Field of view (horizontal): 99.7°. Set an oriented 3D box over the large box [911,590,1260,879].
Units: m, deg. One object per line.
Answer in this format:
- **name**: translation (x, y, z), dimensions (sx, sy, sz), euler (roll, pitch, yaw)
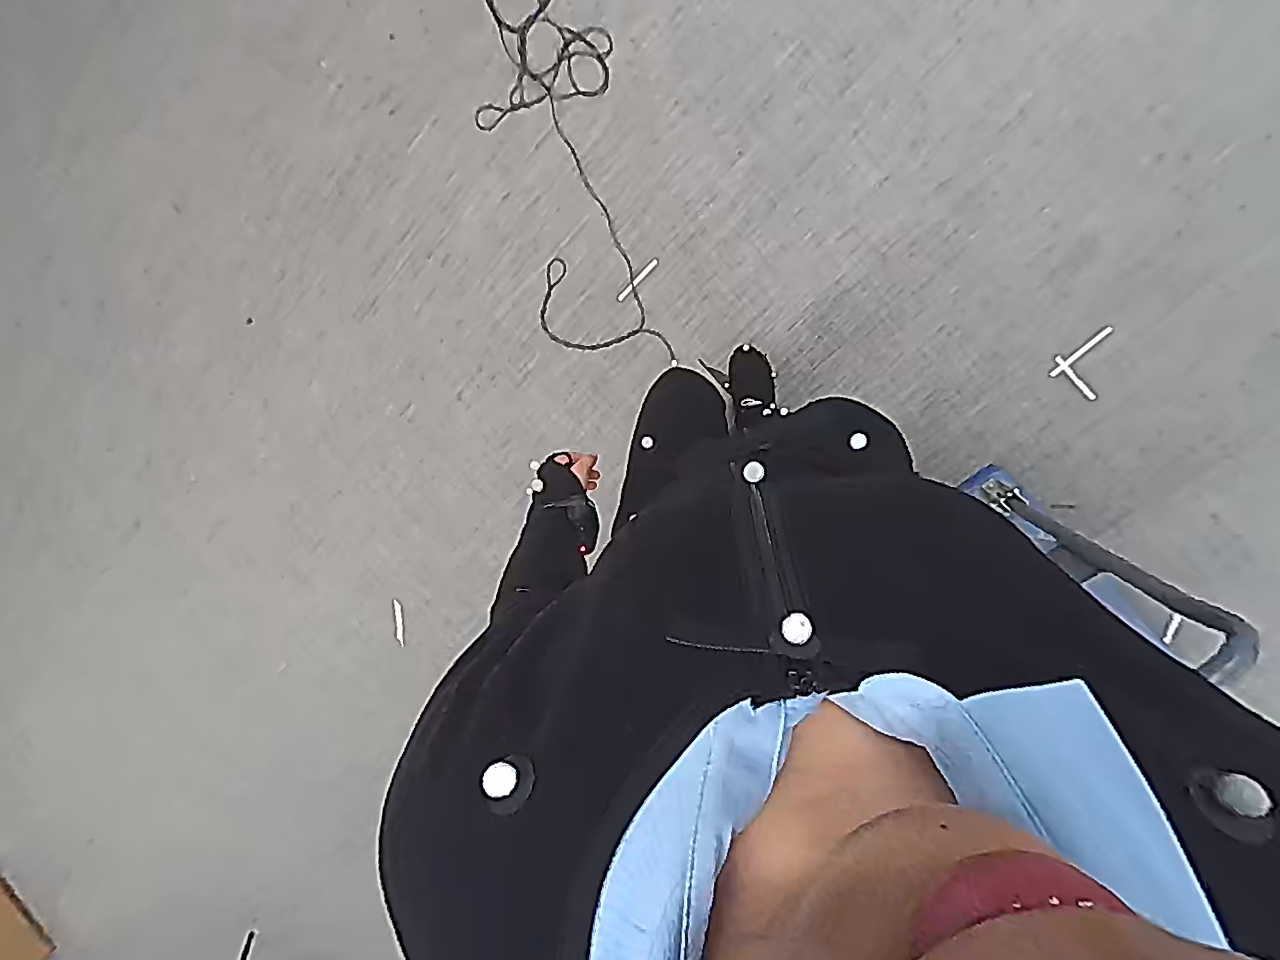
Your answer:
- **large box**: translation (0.877, 0.512, 1.141), dimensions (0.408, 0.320, 0.320), euler (-41, 93, 15)
